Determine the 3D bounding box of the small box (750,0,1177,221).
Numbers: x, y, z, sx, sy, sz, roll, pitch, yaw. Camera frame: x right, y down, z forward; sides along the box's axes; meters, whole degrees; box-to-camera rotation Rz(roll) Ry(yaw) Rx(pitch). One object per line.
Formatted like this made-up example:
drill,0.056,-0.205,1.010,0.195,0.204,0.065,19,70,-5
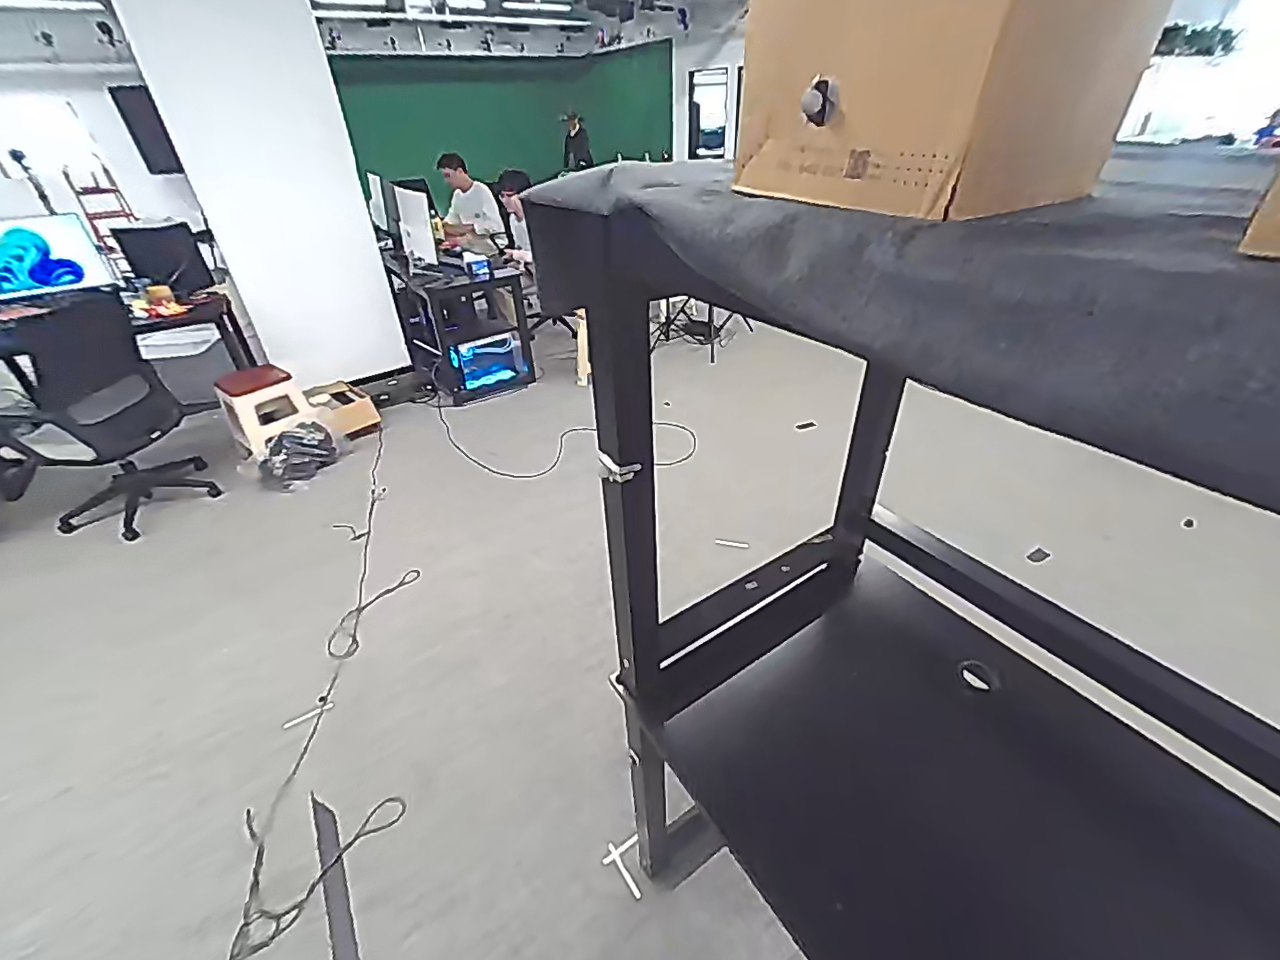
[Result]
small box,0.186,-0.265,0.326,0.179,0.176,0.168,-22,40,-28
